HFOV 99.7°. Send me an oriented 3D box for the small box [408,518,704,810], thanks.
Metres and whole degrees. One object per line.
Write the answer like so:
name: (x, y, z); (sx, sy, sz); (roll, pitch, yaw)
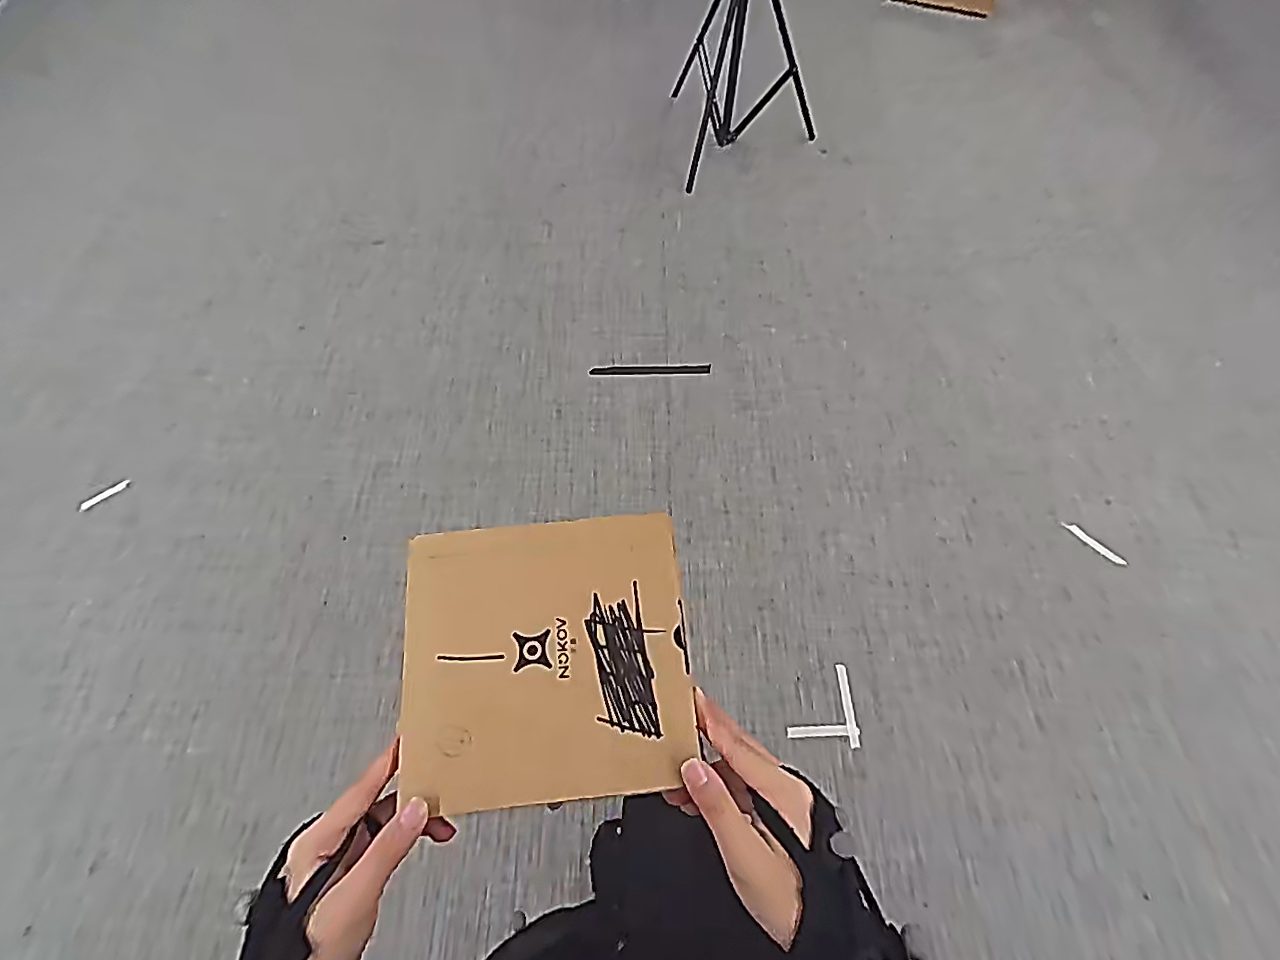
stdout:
small box: (-0.057, 0.135, 0.417); (0.179, 0.176, 0.168); (-5, 69, -3)
